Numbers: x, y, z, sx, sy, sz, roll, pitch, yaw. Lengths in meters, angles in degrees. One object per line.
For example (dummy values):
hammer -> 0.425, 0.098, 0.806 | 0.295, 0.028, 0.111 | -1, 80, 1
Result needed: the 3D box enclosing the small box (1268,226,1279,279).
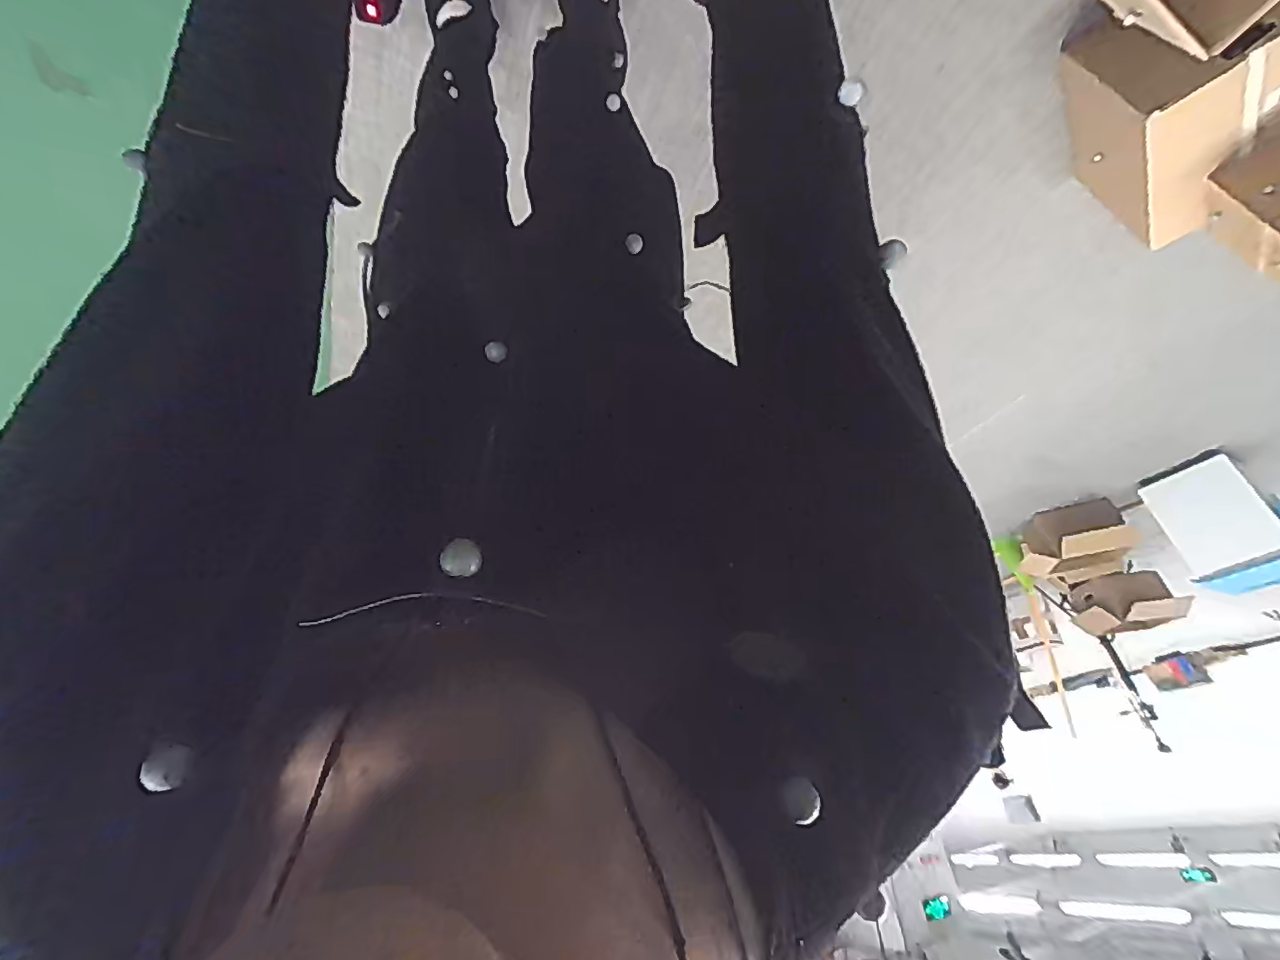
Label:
small box -> 1.320, -0.430, 0.981 | 0.168, 0.176, 0.179 | 24, 136, -40
